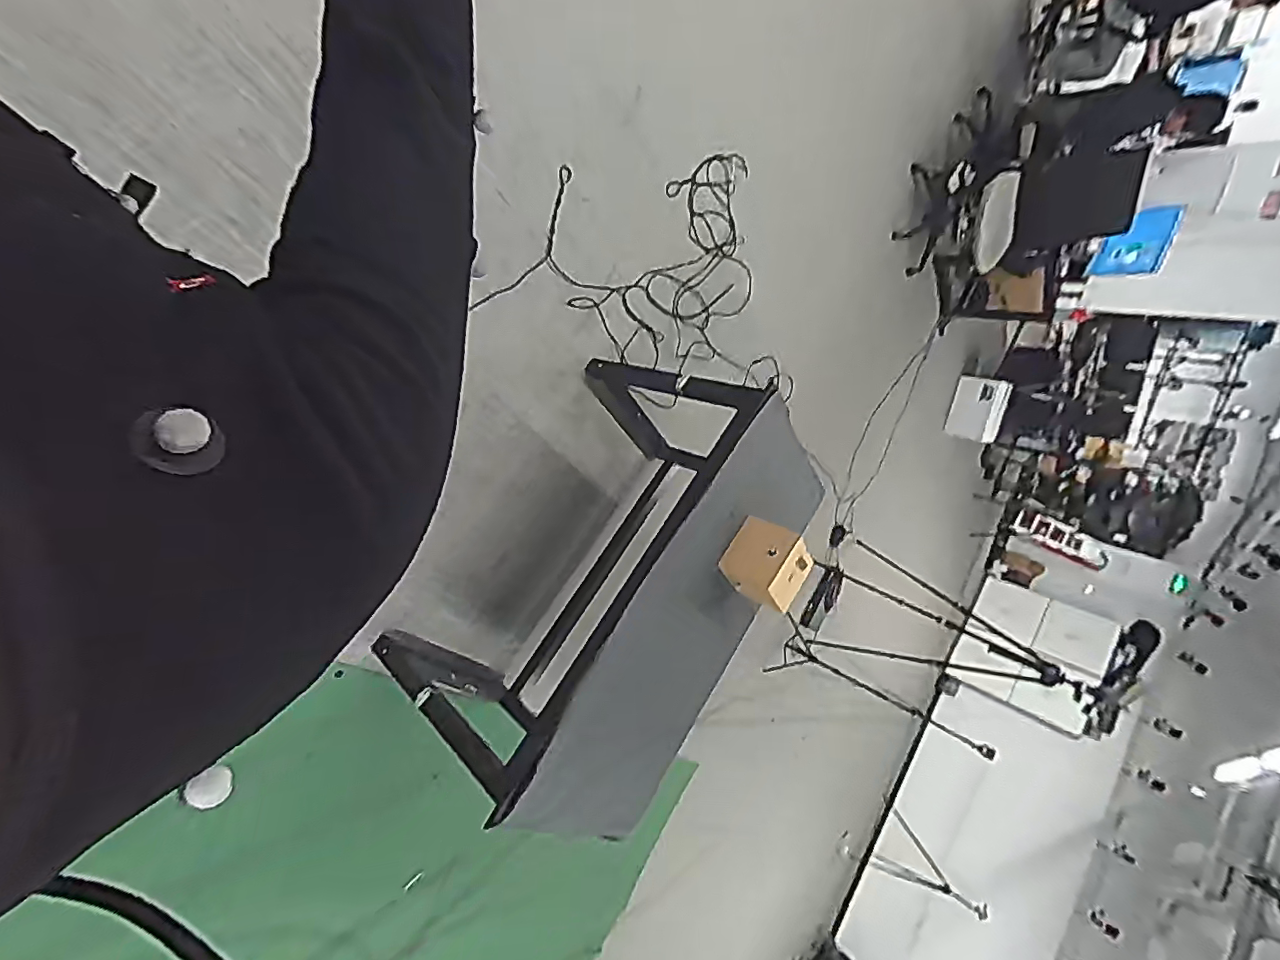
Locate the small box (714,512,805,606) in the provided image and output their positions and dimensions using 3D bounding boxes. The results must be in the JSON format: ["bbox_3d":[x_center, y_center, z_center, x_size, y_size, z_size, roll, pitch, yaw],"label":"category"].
[{"bbox_3d":[0.334,0.215,1.513,0.179,0.176,0.168,-55,137,-16],"label":"small box"}]
